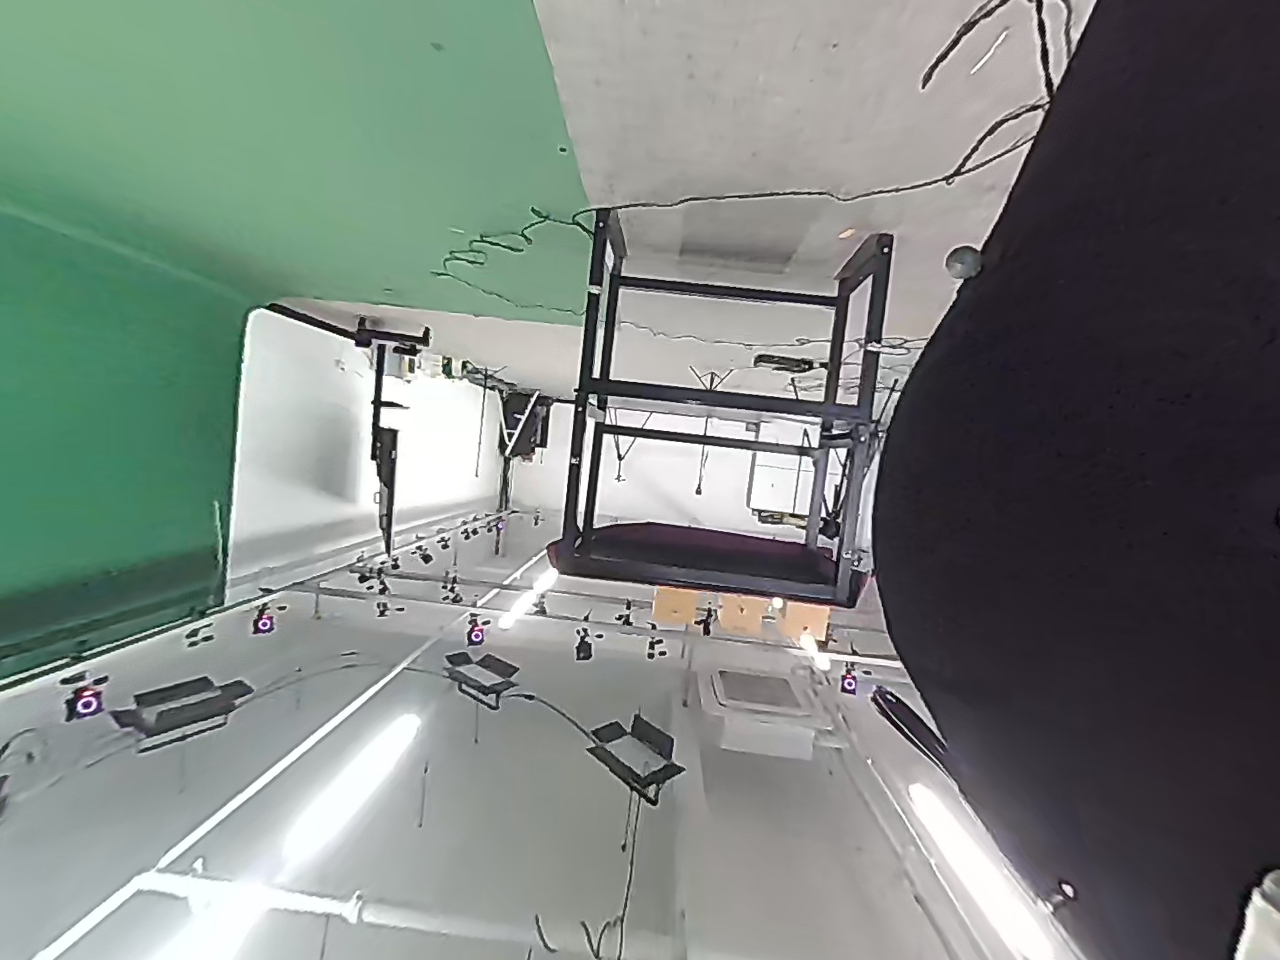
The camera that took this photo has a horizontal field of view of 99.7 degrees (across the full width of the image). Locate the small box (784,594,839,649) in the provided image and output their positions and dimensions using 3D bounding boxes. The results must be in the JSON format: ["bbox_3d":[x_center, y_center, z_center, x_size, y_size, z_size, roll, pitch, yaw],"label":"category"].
[{"bbox_3d":[0.718,0.587,2.264,0.179,0.176,0.168,8,-178,5],"label":"small box"}]

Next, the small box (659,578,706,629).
[{"bbox_3d":[0.179,0.518,2.295,0.179,0.176,0.168,6,-176,3],"label":"small box"}]

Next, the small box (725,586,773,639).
[{"bbox_3d":[0.458,0.554,2.279,0.168,0.176,0.179,7,-177,4],"label":"small box"}]
